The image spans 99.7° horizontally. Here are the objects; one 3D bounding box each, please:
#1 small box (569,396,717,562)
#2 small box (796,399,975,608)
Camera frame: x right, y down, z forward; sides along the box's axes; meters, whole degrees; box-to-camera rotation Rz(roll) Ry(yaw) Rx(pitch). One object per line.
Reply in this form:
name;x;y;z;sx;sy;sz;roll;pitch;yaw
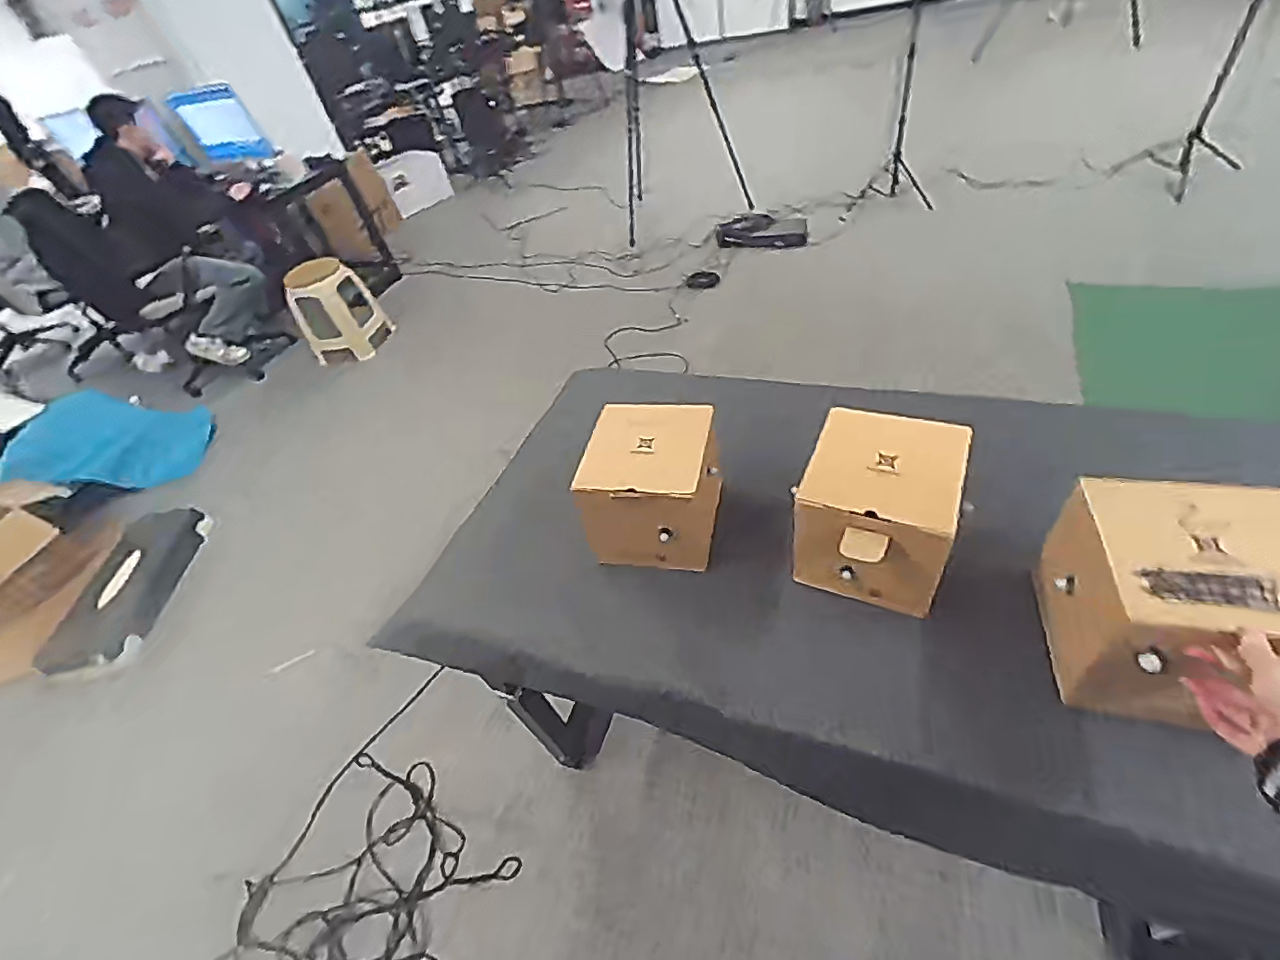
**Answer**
small box;0.018;-0.001;0.778;0.168;0.176;0.179;4;46;15
small box;0.300;0.028;0.682;0.168;0.176;0.179;14;52;25
